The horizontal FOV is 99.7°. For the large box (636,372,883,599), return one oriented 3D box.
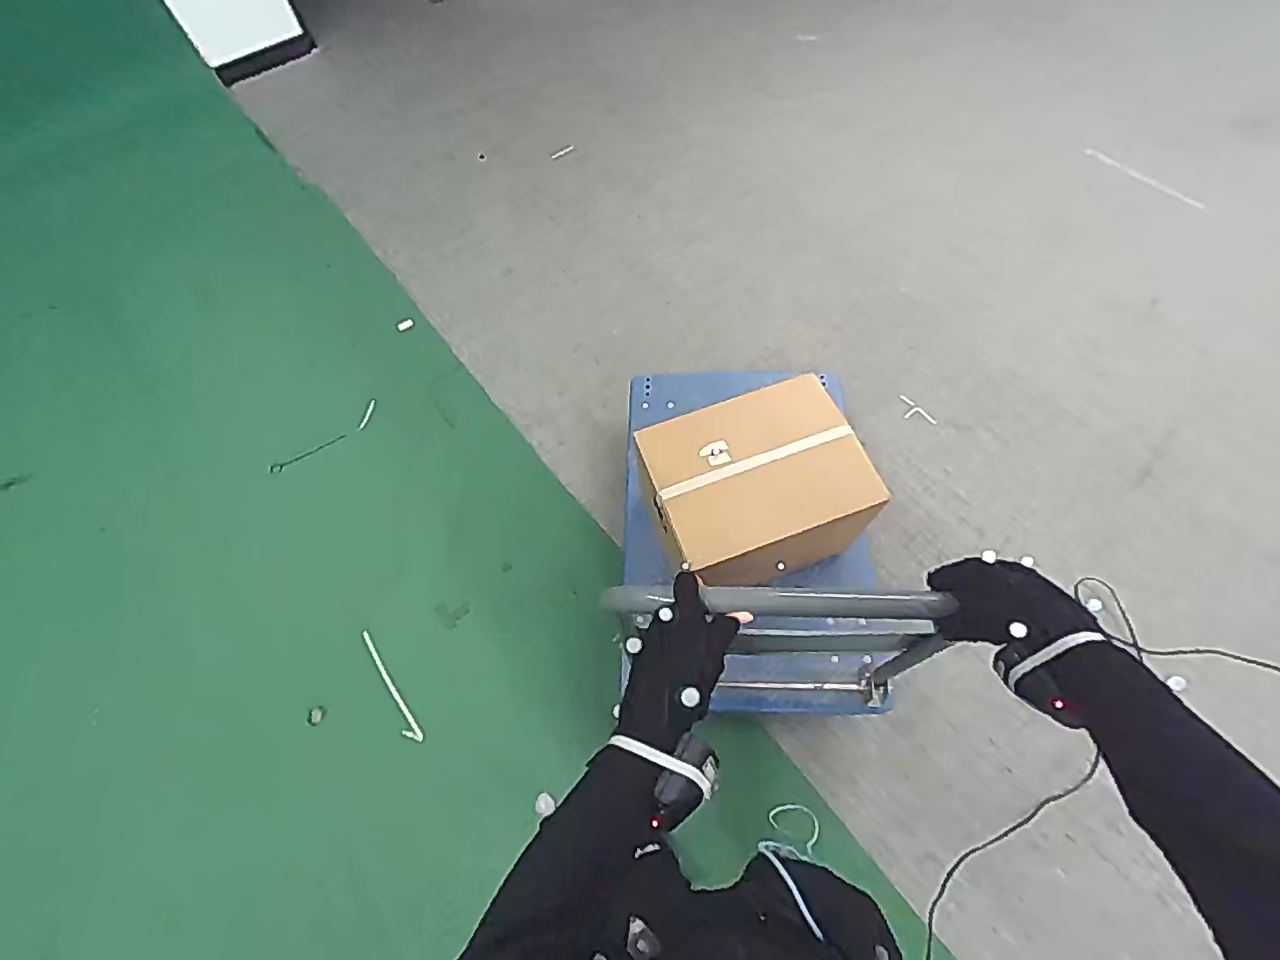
[{"bbox_3d":[0.236,0.026,1.195,0.408,0.320,0.320,-19,64,-5],"label":"large box"}]
